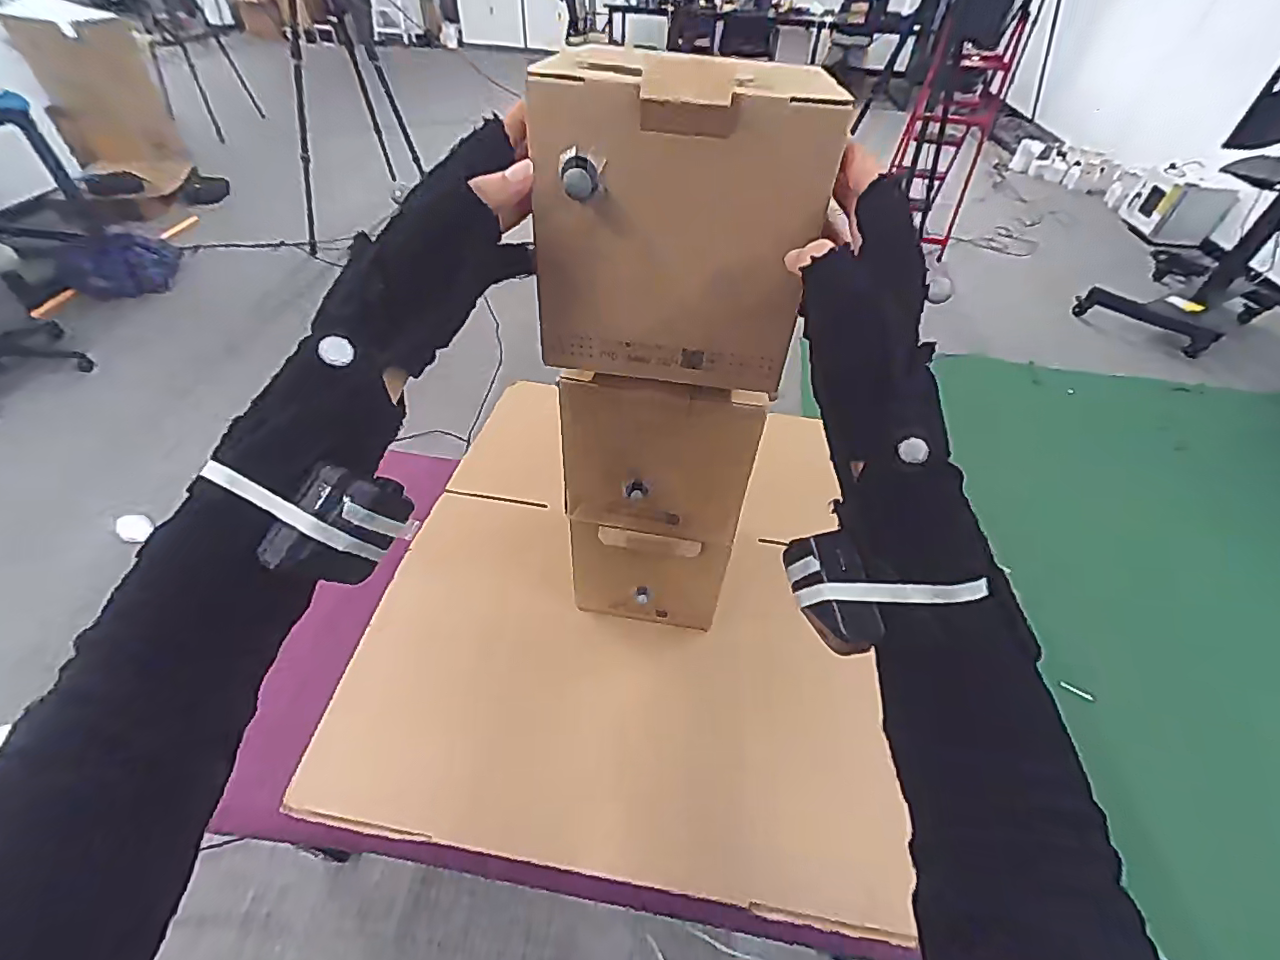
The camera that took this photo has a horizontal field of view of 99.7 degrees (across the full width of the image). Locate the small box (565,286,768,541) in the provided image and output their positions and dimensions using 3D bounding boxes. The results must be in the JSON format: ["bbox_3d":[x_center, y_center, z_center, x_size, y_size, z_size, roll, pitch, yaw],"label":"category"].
[{"bbox_3d":[0.027,-0.067,0.539,0.168,0.176,0.179,9,45,5],"label":"small box"}]

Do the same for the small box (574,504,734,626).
[{"bbox_3d":[0.020,0.048,0.654,0.168,0.176,0.179,9,45,5],"label":"small box"}]
